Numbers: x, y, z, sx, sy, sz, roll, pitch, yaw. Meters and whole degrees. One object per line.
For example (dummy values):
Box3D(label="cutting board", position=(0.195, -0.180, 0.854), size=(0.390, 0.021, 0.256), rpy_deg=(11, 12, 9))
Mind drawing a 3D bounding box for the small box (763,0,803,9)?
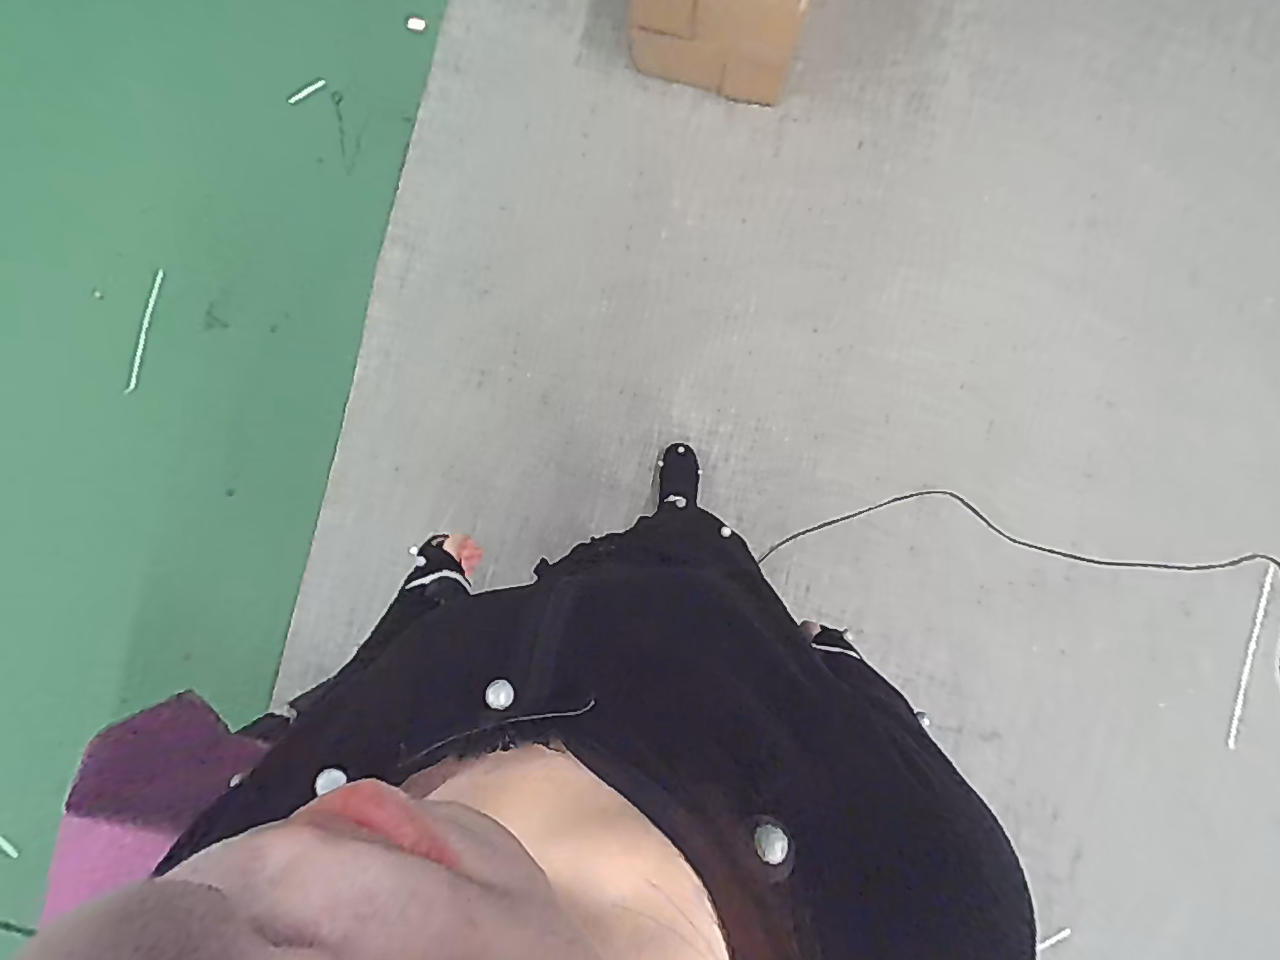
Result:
Box3D(label="small box", position=(0.297, -1.136, 1.107), size=(0.168, 0.176, 0.179), rpy_deg=(19, 88, 4))
